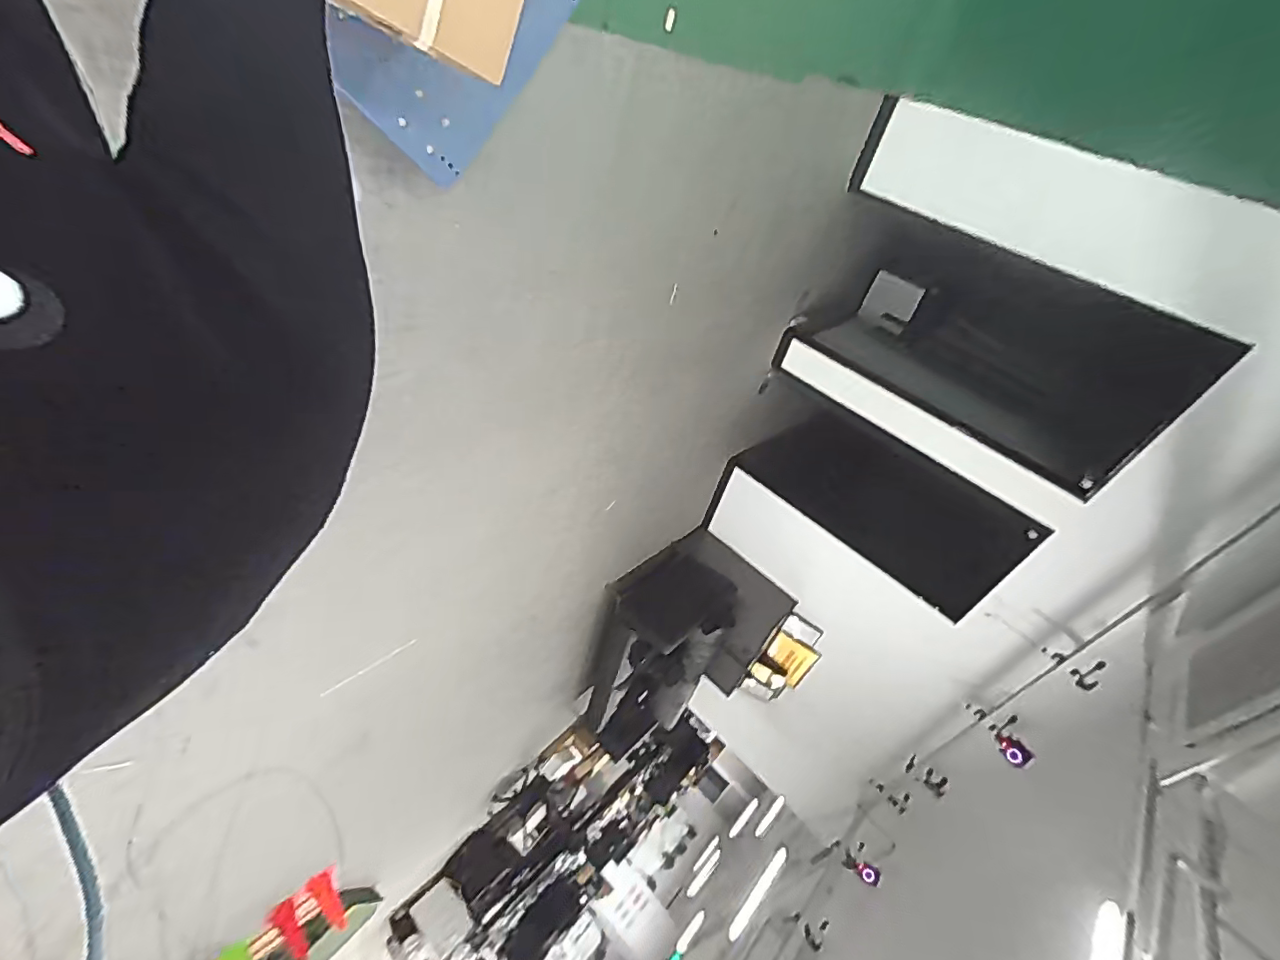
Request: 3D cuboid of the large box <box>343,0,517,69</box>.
[{"bbox_3d":[-0.365,-0.940,0.809,0.320,0.320,0.408,-13,135,-53],"label":"large box"}]
